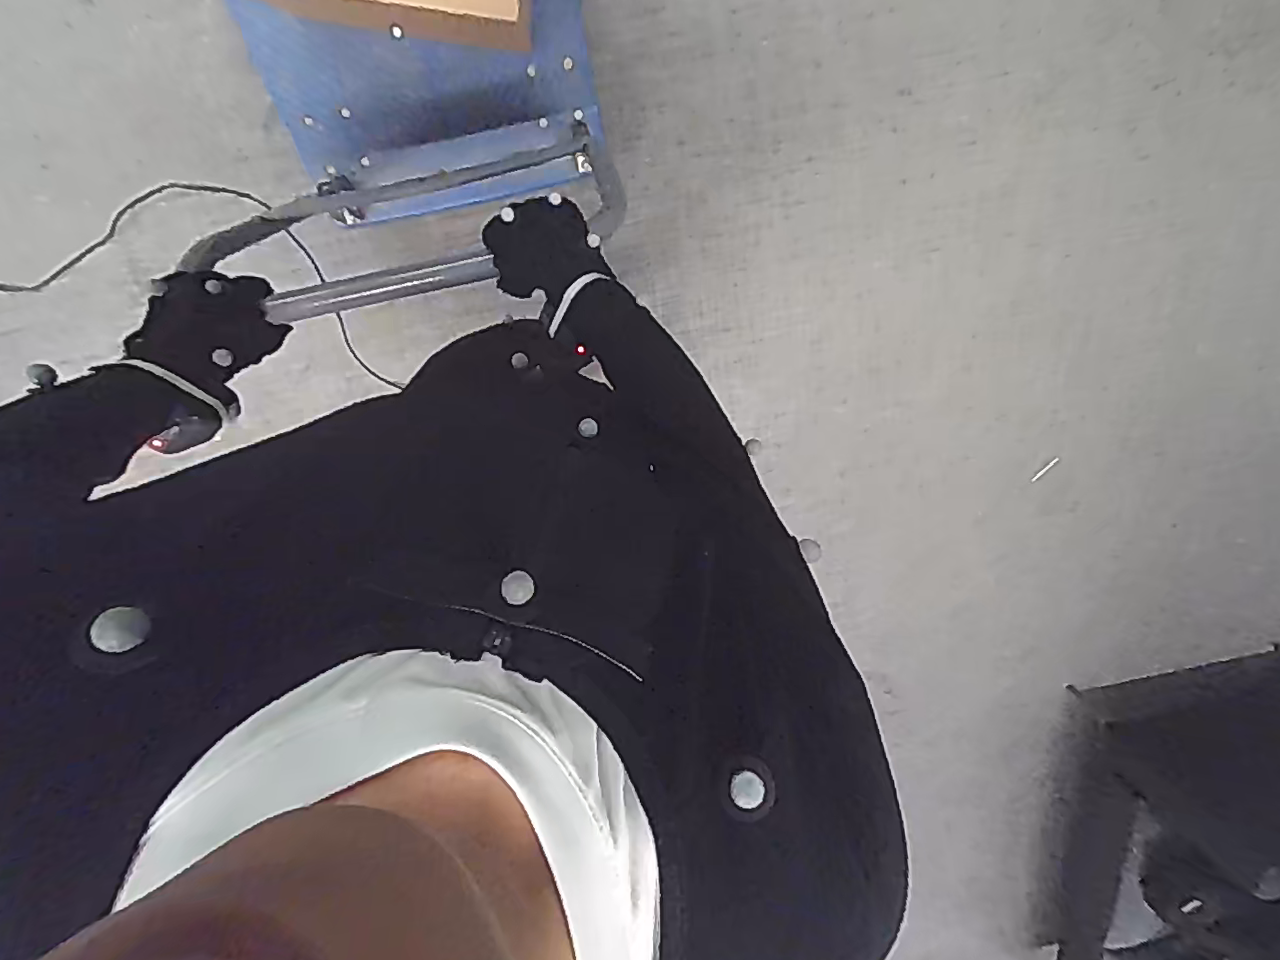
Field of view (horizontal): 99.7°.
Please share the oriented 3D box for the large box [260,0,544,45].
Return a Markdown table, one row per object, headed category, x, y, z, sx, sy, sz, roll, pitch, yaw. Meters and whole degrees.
| category | x | y | z | sx | sy | sz | roll | pitch | yaw |
| --- | --- | --- | --- | --- | --- | --- | --- | --- | --- |
| large box | -0.347 | -0.835 | 0.752 | 0.408 | 0.320 | 0.320 | 2 | 122 | -7 |
